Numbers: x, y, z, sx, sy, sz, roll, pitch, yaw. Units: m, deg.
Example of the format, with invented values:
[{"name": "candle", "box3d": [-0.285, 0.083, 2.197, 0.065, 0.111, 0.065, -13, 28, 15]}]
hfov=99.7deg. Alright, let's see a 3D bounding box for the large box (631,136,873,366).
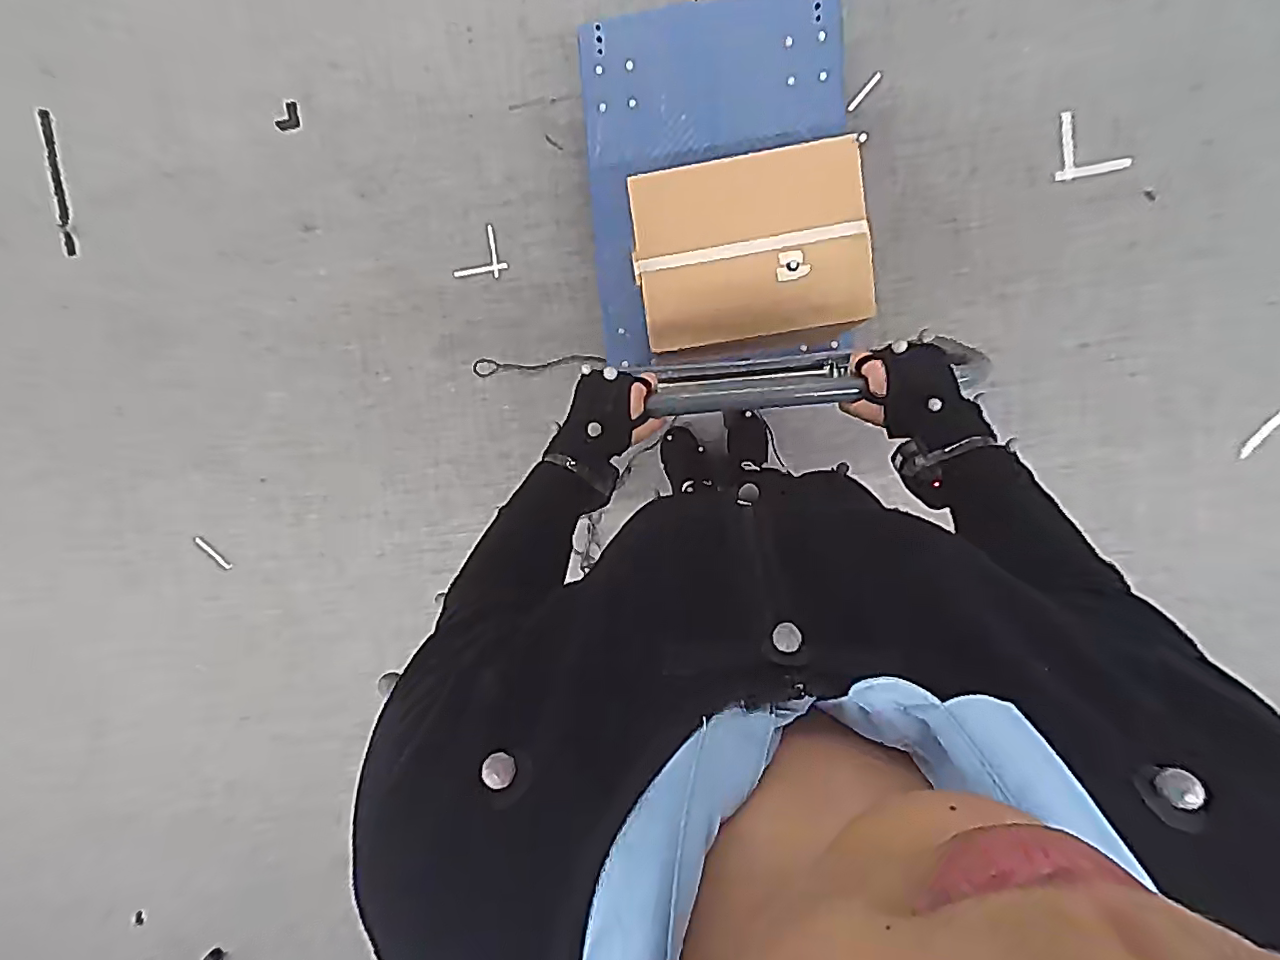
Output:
[{"name": "large box", "box3d": [0.210, -0.436, 1.120, 0.408, 0.320, 0.320, -8, 97, 5]}]
